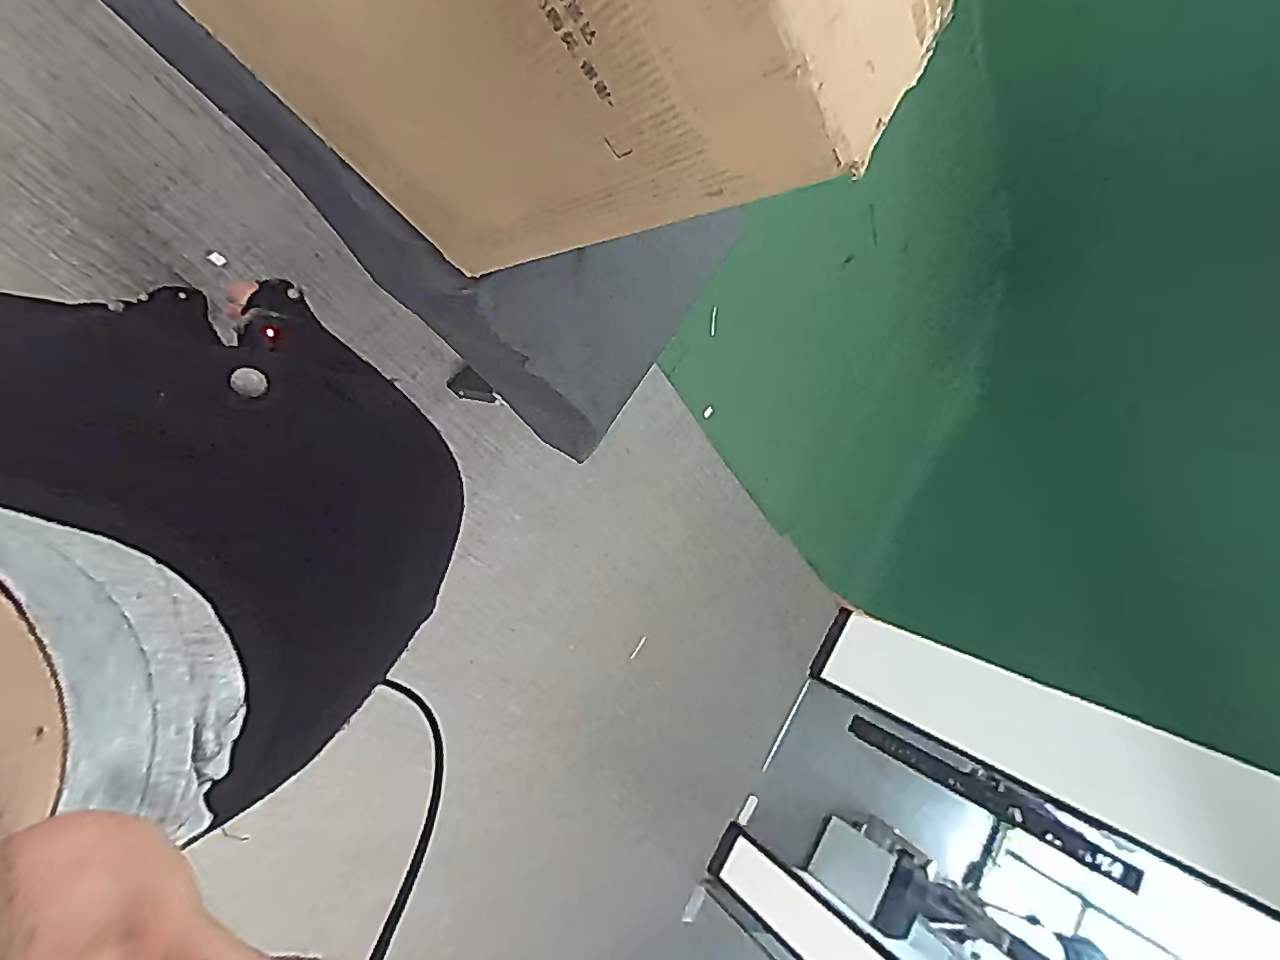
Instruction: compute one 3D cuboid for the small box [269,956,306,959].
[{"bbox_3d":[-1.016,1.495,1.511,0.168,0.176,0.179,47,69,-37],"label":"small box"}]
